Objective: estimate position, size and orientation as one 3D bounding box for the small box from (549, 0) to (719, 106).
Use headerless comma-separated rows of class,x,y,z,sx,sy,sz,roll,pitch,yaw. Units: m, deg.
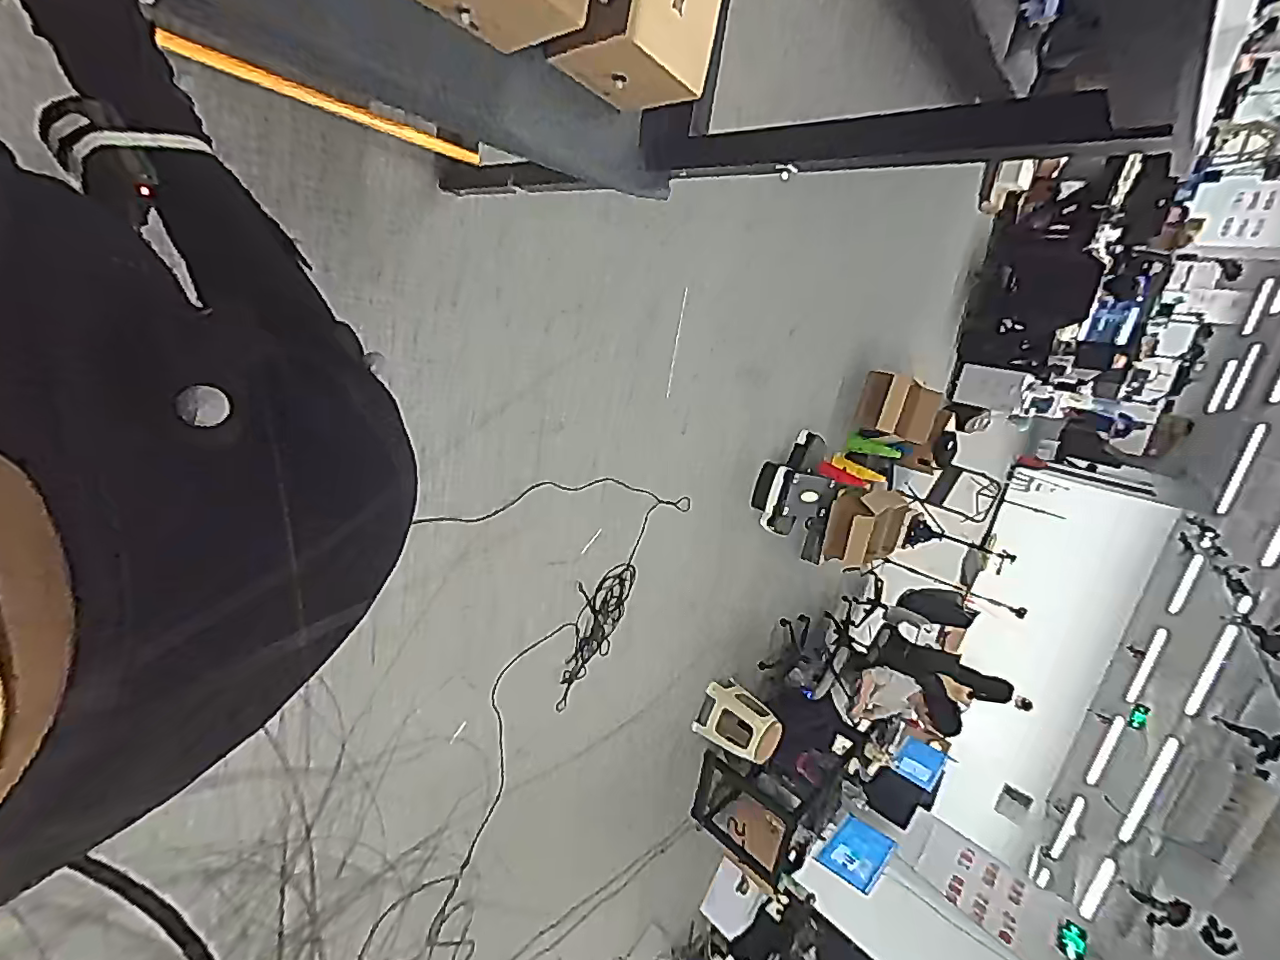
small box,-0.009,-0.671,0.773,0.168,0.176,0.179,-3,109,-49
